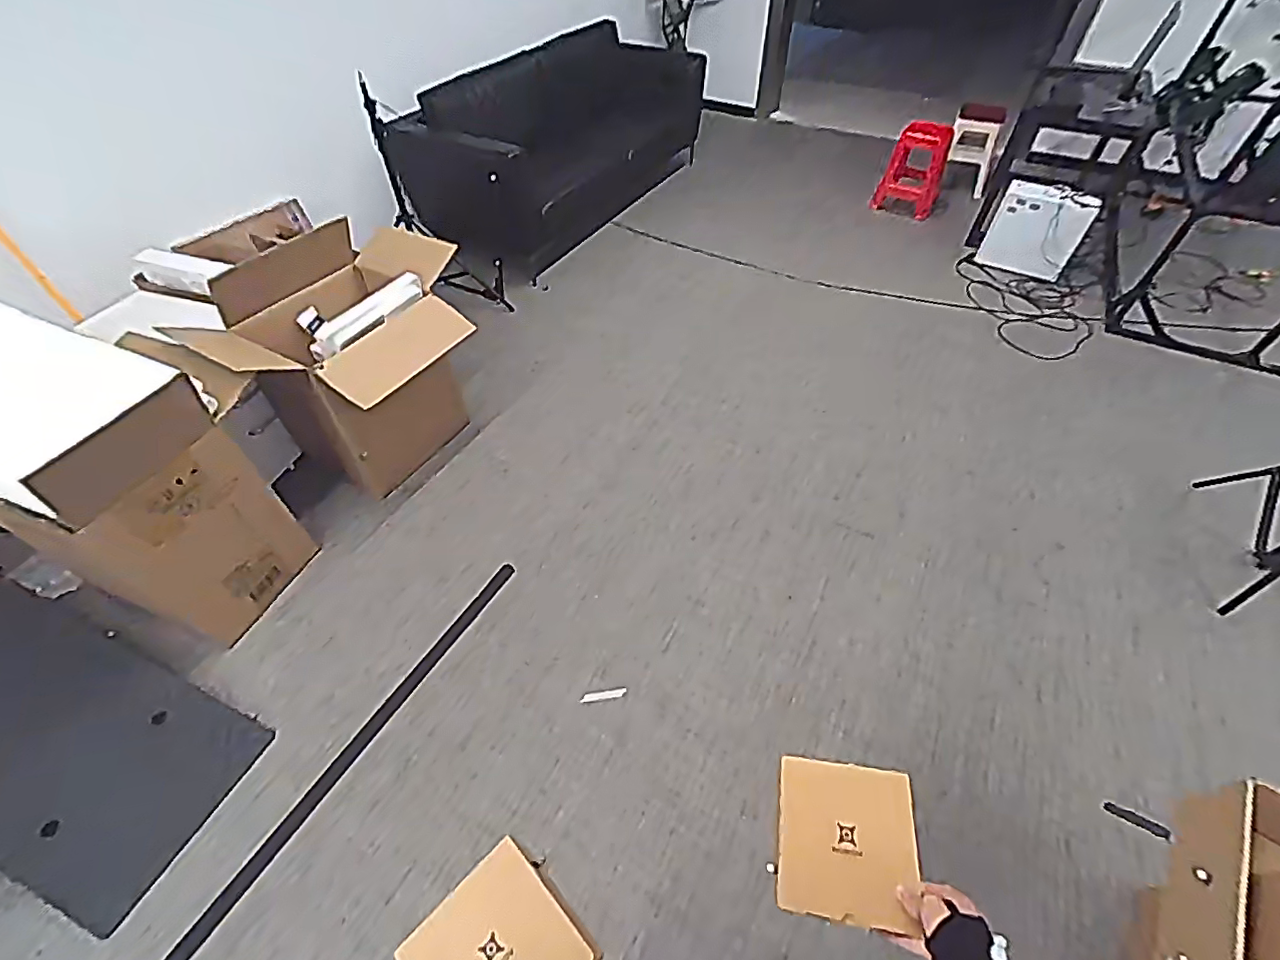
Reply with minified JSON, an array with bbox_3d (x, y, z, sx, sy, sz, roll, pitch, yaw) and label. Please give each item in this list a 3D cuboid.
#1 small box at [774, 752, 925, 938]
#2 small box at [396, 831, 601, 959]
[{"bbox_3d":[0.274,0.497,0.747,0.168,0.176,0.179,2,55,14],"label":"small box"},{"bbox_3d":[-0.166,0.590,0.678,0.168,0.176,0.179,-37,60,-26],"label":"small box"}]
